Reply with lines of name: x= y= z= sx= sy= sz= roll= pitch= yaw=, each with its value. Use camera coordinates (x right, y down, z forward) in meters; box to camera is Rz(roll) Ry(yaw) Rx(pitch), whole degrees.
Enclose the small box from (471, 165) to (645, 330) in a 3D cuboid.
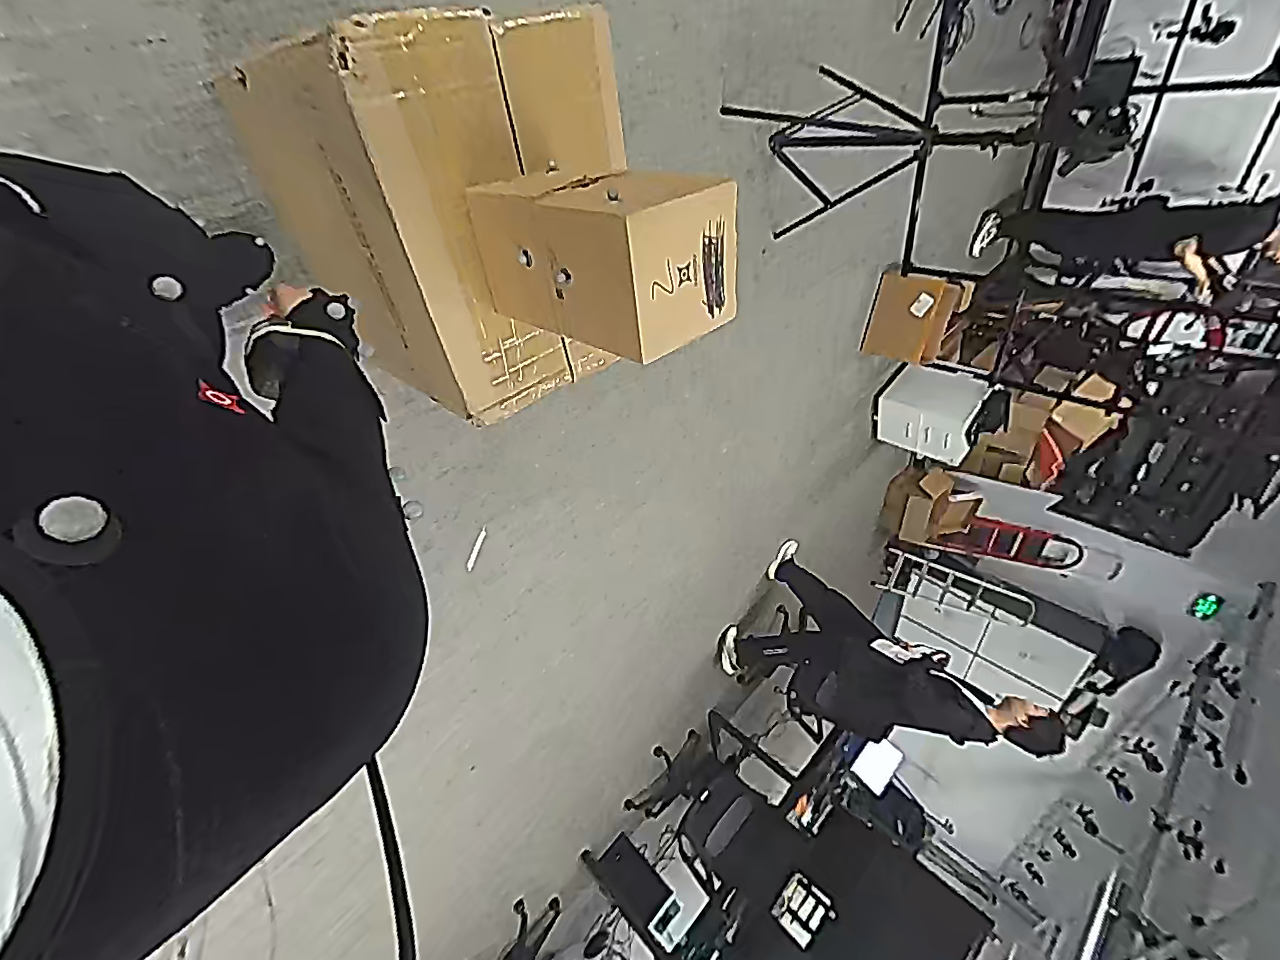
small box: x=-0.115 y=-0.338 z=0.772 sx=0.168 sy=0.176 sz=0.179 roll=-34 pitch=135 yaw=-31
